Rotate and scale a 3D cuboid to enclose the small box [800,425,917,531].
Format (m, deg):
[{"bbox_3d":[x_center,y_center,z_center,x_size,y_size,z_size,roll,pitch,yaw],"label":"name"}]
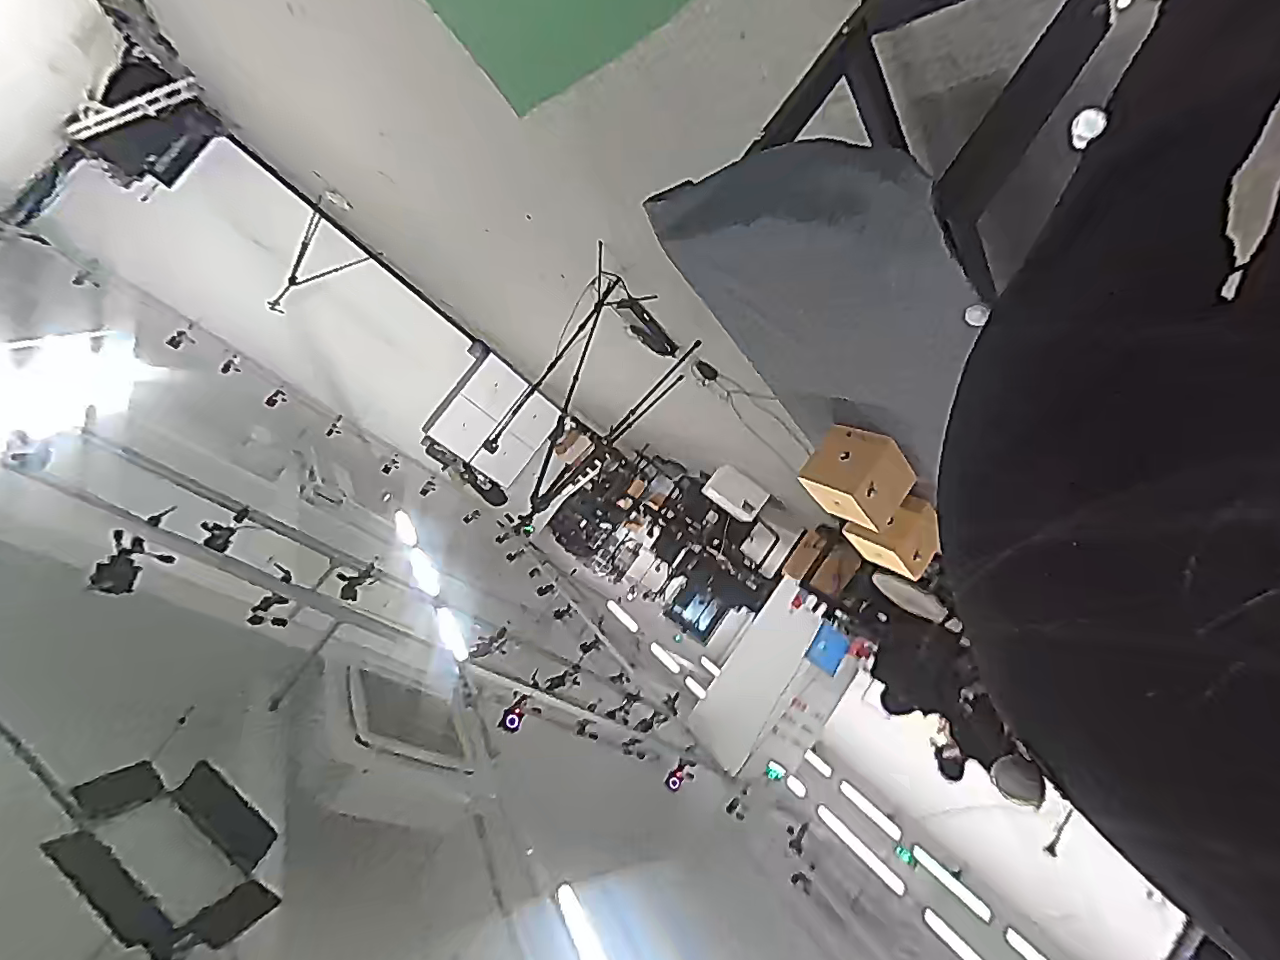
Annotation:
[{"bbox_3d":[0.529,-0.011,1.305,0.179,0.176,0.168,40,174,-34],"label":"small box"}]

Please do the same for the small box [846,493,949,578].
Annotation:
[{"bbox_3d":[0.705,0.134,1.478,0.179,0.176,0.168,39,173,-34],"label":"small box"}]
